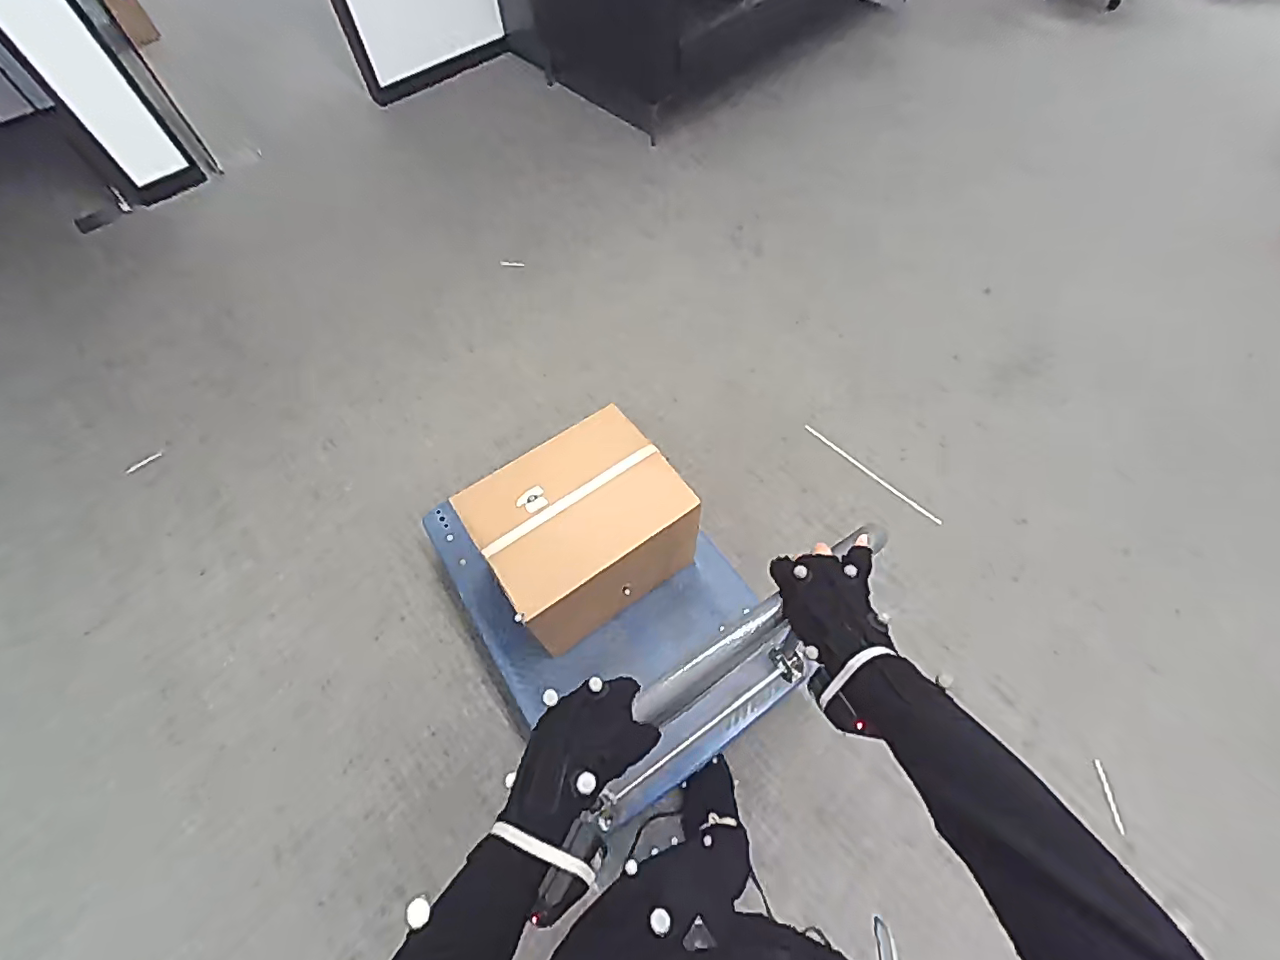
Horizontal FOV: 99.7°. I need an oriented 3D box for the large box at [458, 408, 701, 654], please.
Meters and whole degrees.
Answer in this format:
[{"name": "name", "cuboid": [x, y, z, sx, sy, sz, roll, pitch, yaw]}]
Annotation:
[{"name": "large box", "cuboid": [-0.117, 0.121, 1.211, 0.408, 0.320, 0.320, -33, 64, -15]}]
